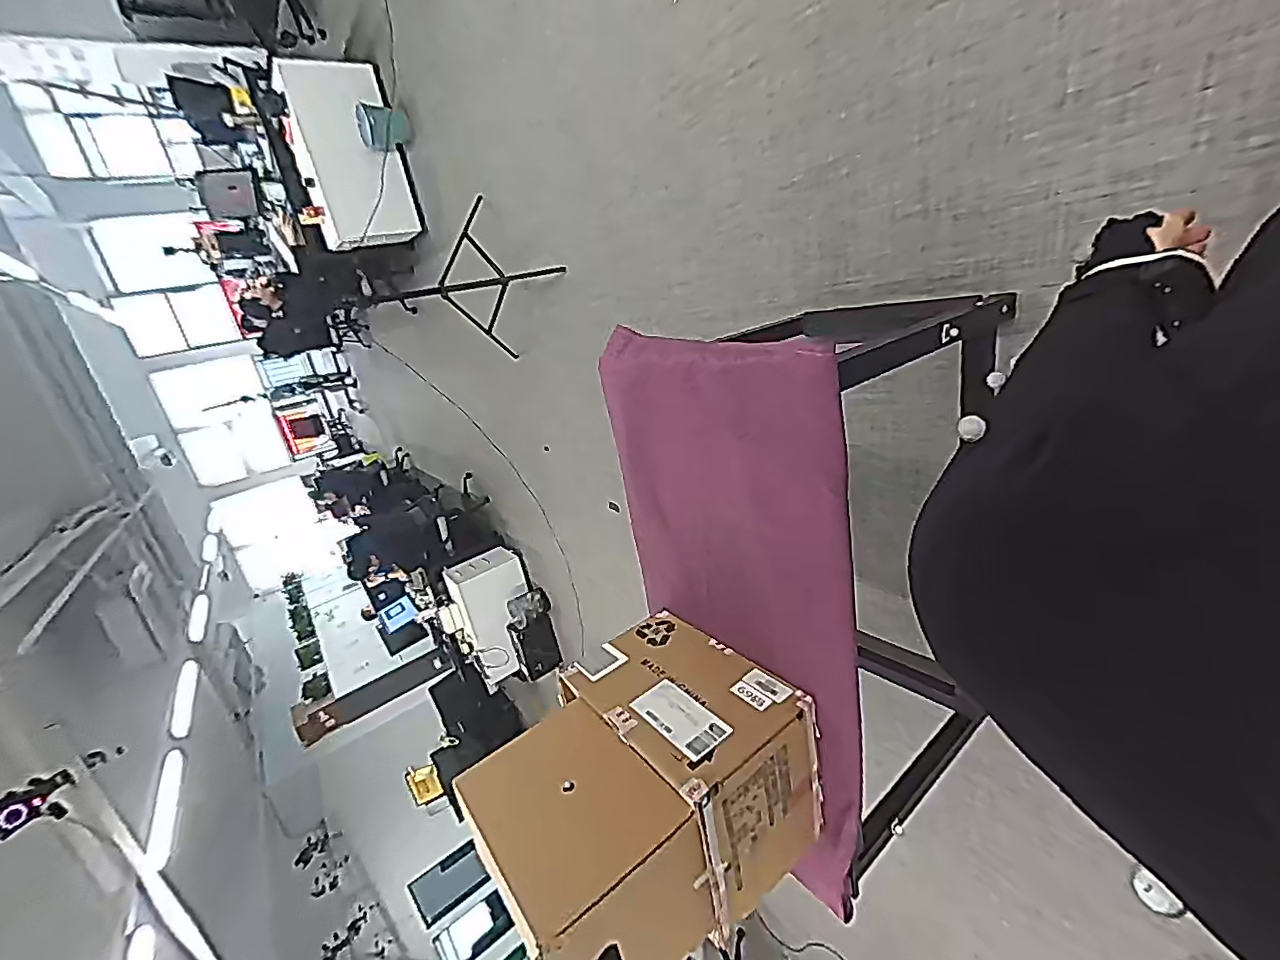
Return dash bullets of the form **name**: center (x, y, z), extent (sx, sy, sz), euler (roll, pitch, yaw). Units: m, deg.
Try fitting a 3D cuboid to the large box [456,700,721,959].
- **large box**: center (-0.106, 0.712, 1.049), extent (0.408, 0.320, 0.320), euler (15, 123, 52)
